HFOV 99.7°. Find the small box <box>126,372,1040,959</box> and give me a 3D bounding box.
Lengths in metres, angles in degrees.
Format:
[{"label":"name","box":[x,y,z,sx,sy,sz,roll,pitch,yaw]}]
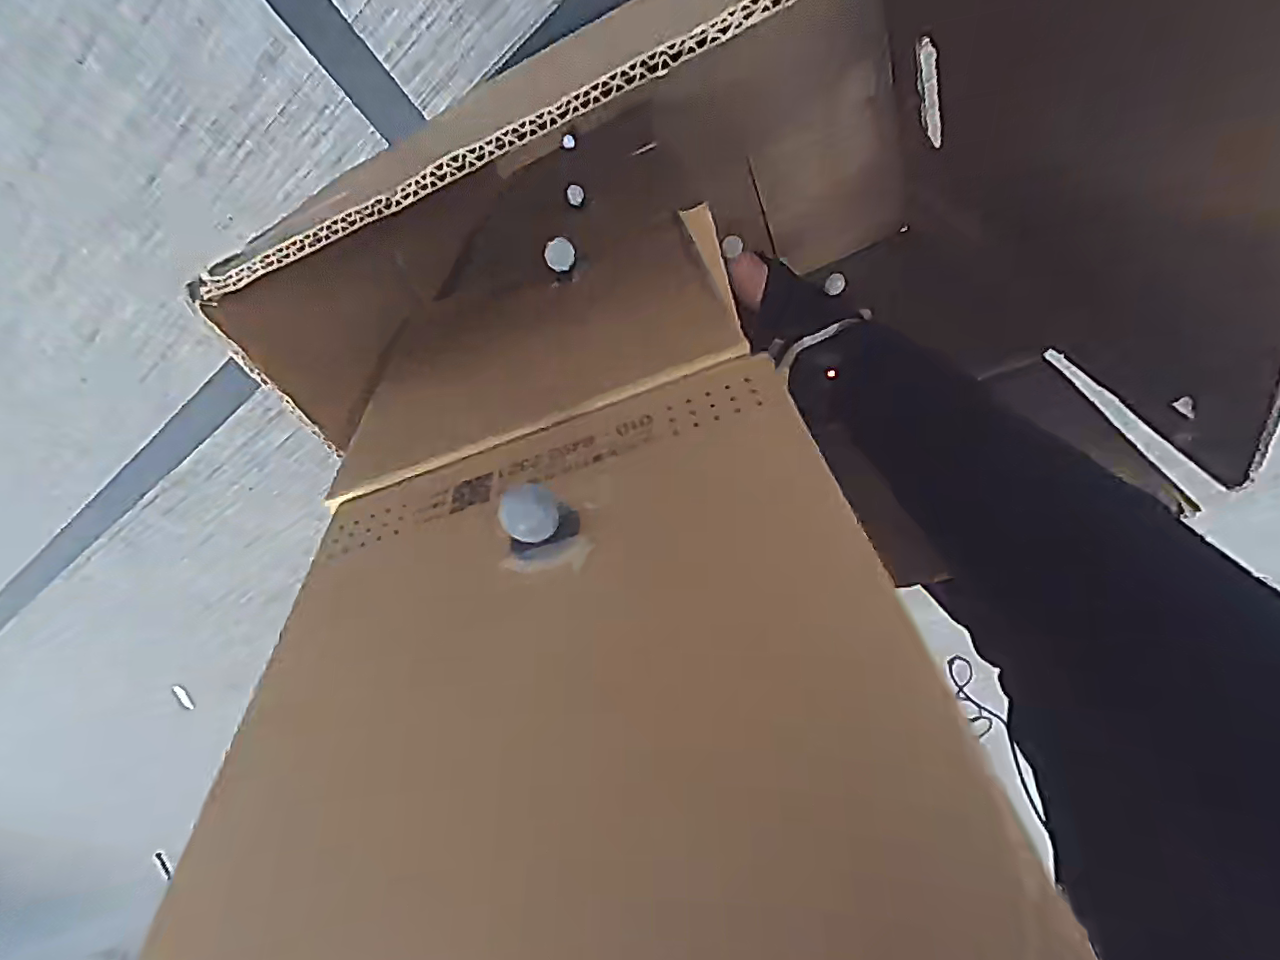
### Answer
[{"label":"small box","box":[-0.001,0.096,0.185,0.168,0.176,0.179,-20,130,9]}]
